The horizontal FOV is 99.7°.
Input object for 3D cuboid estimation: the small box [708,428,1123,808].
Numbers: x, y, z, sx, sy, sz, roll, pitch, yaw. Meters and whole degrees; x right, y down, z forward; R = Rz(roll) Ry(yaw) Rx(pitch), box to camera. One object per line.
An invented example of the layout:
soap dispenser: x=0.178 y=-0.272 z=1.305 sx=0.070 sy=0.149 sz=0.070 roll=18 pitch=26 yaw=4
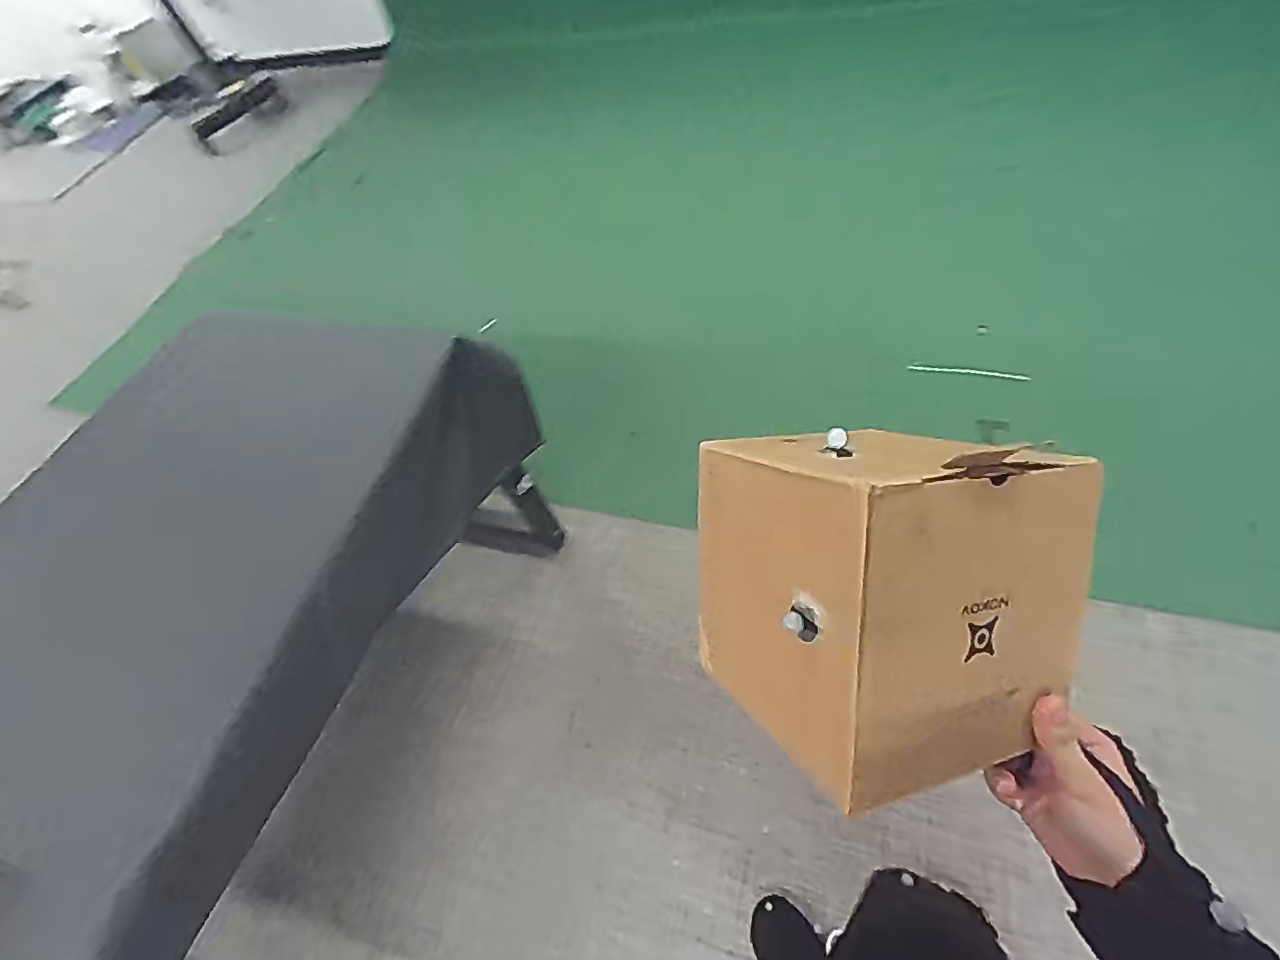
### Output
small box: x=0.155 y=0.059 z=0.353 sx=0.168 sy=0.179 sz=0.176 roll=-4 pitch=13 yaw=-20
